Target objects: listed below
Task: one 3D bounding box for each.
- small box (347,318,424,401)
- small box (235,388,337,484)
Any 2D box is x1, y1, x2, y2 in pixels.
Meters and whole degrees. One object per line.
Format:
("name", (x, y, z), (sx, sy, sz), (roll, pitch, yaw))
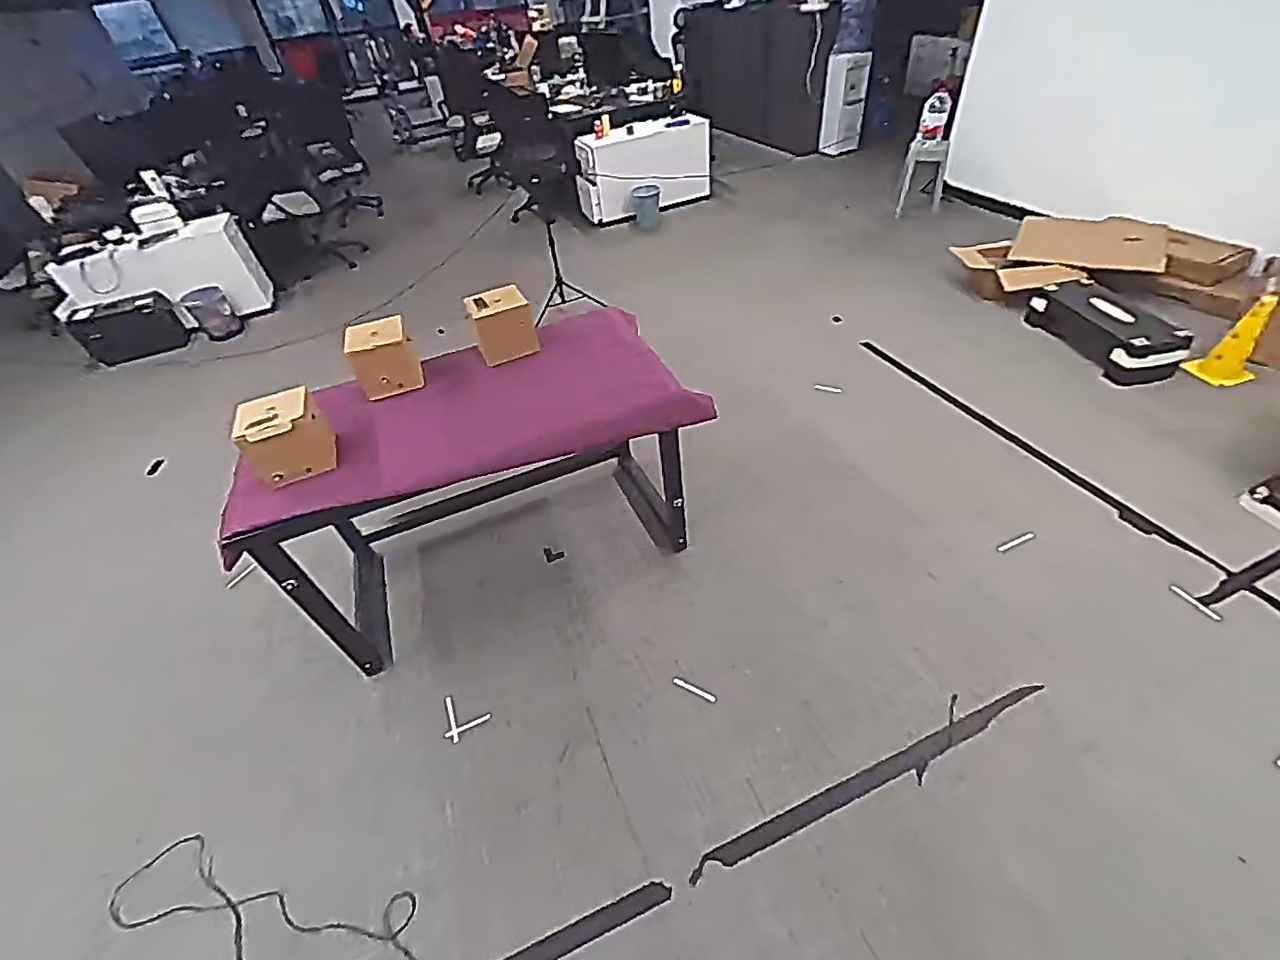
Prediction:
("small box", (-0.783, -0.372, 1.673), (0.168, 0.176, 0.179), (-18, 45, -11))
("small box", (-0.920, -0.109, 1.422), (0.168, 0.176, 0.179), (-21, 44, -14))
